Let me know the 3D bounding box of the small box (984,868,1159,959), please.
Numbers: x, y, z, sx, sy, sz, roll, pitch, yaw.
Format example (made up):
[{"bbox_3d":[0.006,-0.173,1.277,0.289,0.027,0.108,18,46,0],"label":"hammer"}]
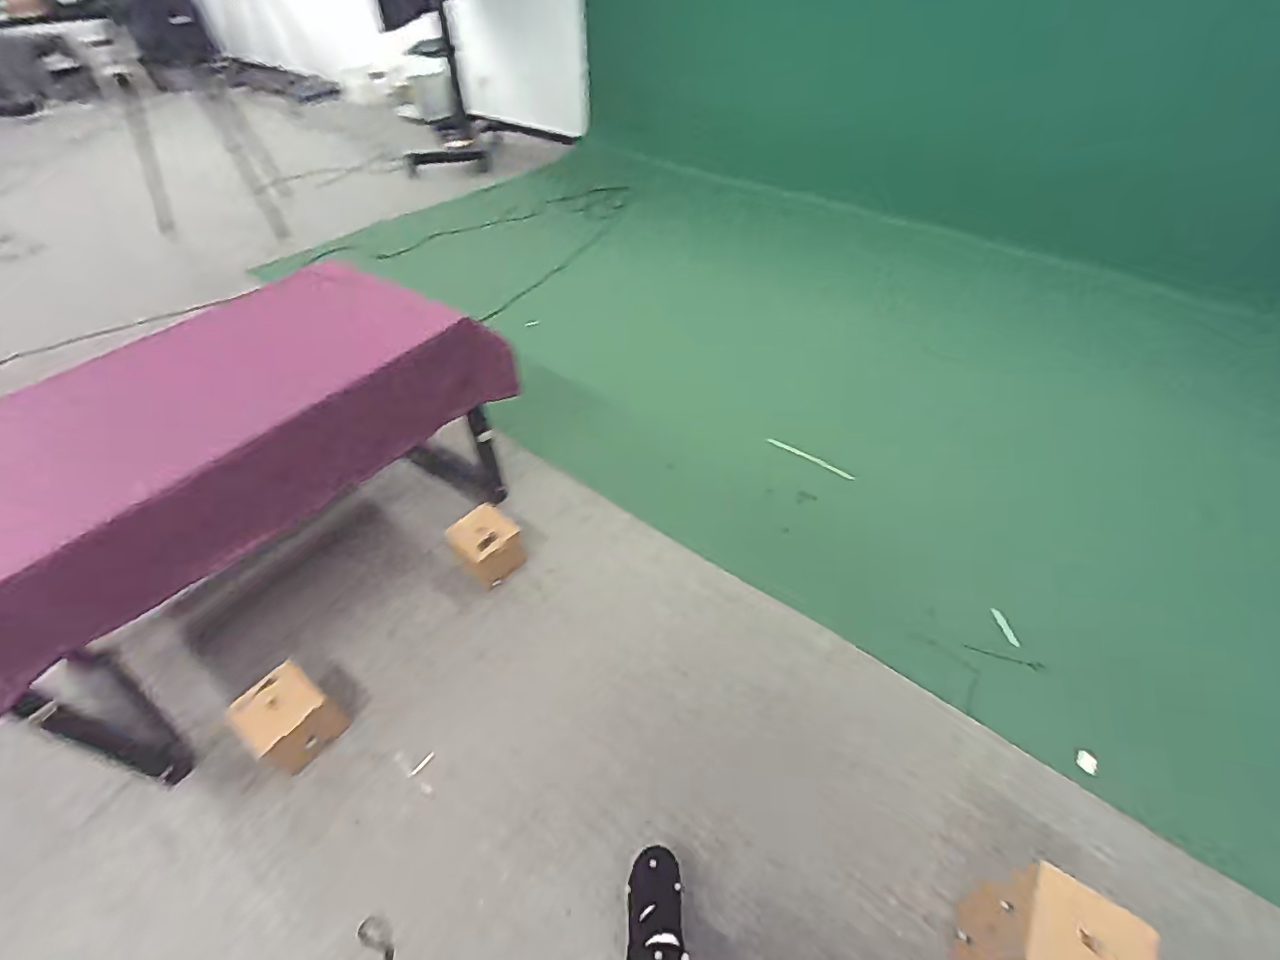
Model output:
[{"bbox_3d":[0.732,0.822,0.932,0.179,0.176,0.168,28,54,24],"label":"small box"}]

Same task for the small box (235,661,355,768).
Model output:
[{"bbox_3d":[-0.871,0.606,1.383,0.179,0.176,0.168,30,54,25],"label":"small box"}]
